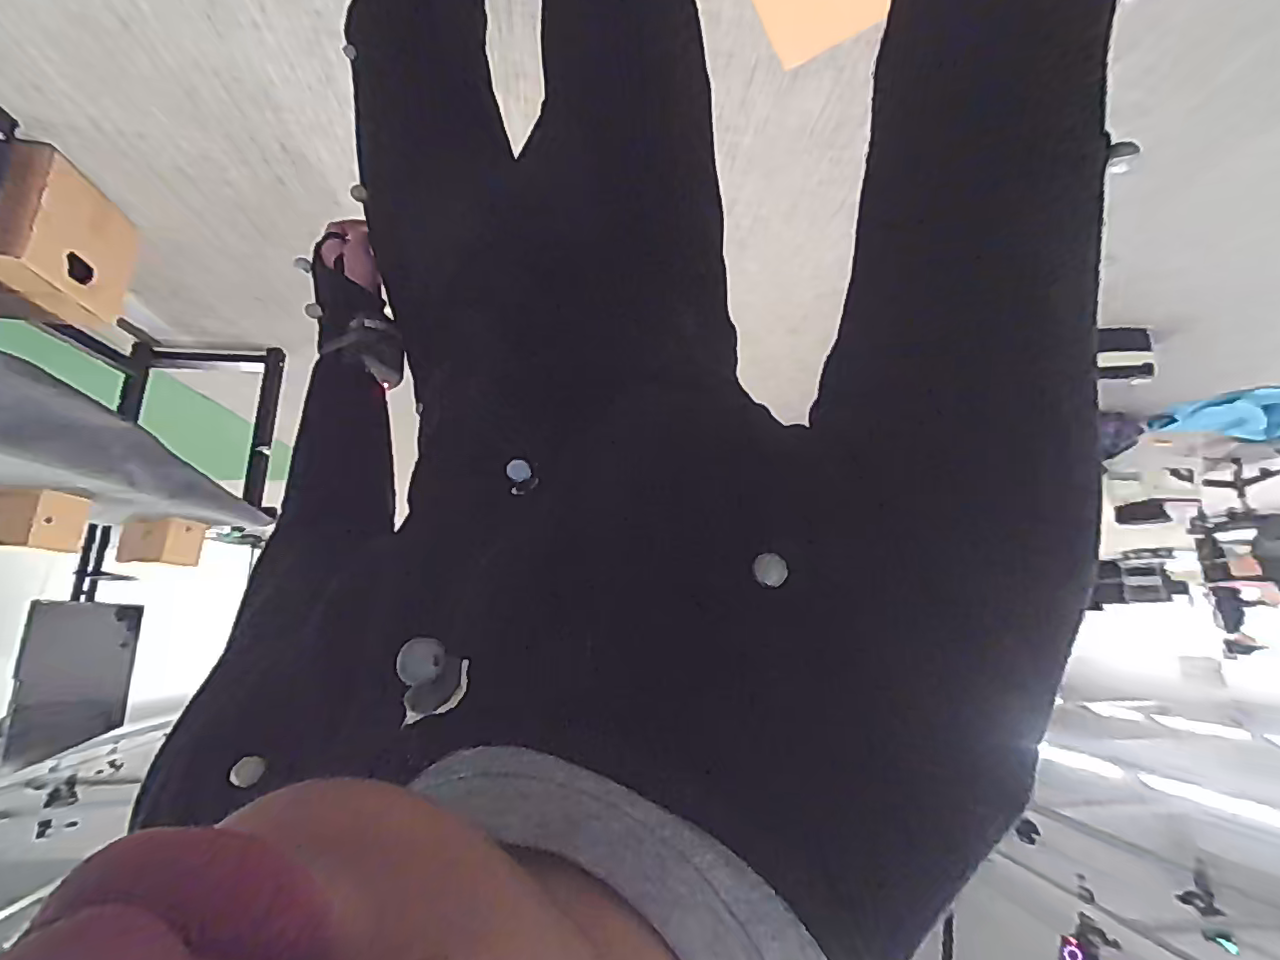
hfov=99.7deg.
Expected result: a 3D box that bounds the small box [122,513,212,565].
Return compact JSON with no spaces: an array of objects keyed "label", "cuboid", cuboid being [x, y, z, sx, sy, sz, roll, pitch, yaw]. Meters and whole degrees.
[{"label":"small box","cuboid":[-1.736,0.219,1.993,0.168,0.176,0.179,1,165,0]}]

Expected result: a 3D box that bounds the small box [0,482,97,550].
[{"label":"small box","cuboid":[-1.726,0.105,1.545,0.168,0.176,0.179,4,167,-8]}]
